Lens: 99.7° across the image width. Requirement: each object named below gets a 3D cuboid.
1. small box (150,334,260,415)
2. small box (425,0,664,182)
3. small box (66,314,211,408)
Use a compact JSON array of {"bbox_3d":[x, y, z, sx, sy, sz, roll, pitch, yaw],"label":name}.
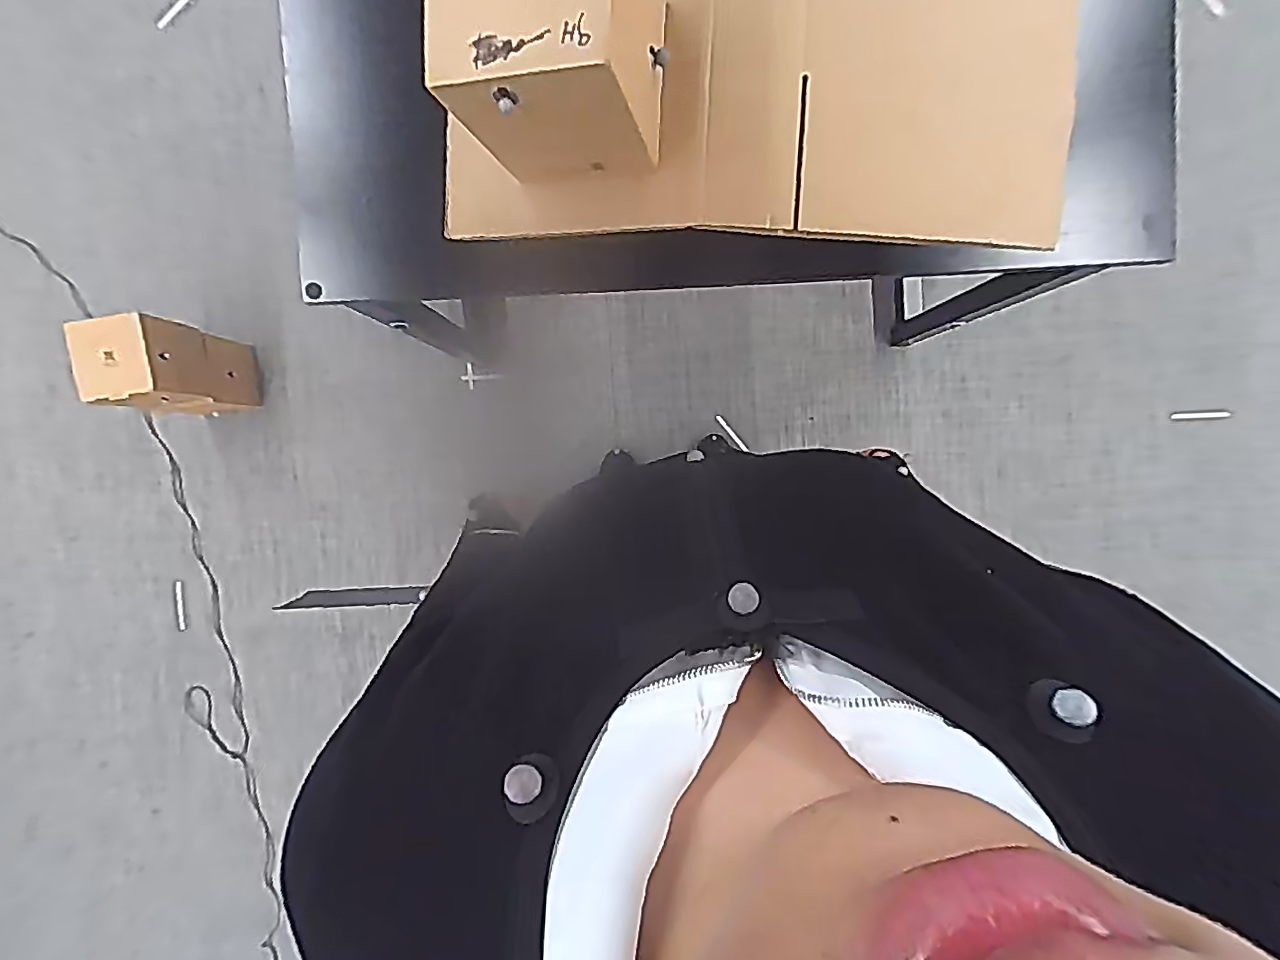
[{"bbox_3d":[-1.136,-0.269,1.407,0.168,0.176,0.179,-7,94,1],"label":"small box"},{"bbox_3d":[-0.075,-0.413,0.507,0.168,0.176,0.179,4,93,15],"label":"small box"},{"bbox_3d":[-1.139,-0.265,1.244,0.168,0.176,0.179,-10,92,0],"label":"small box"}]
